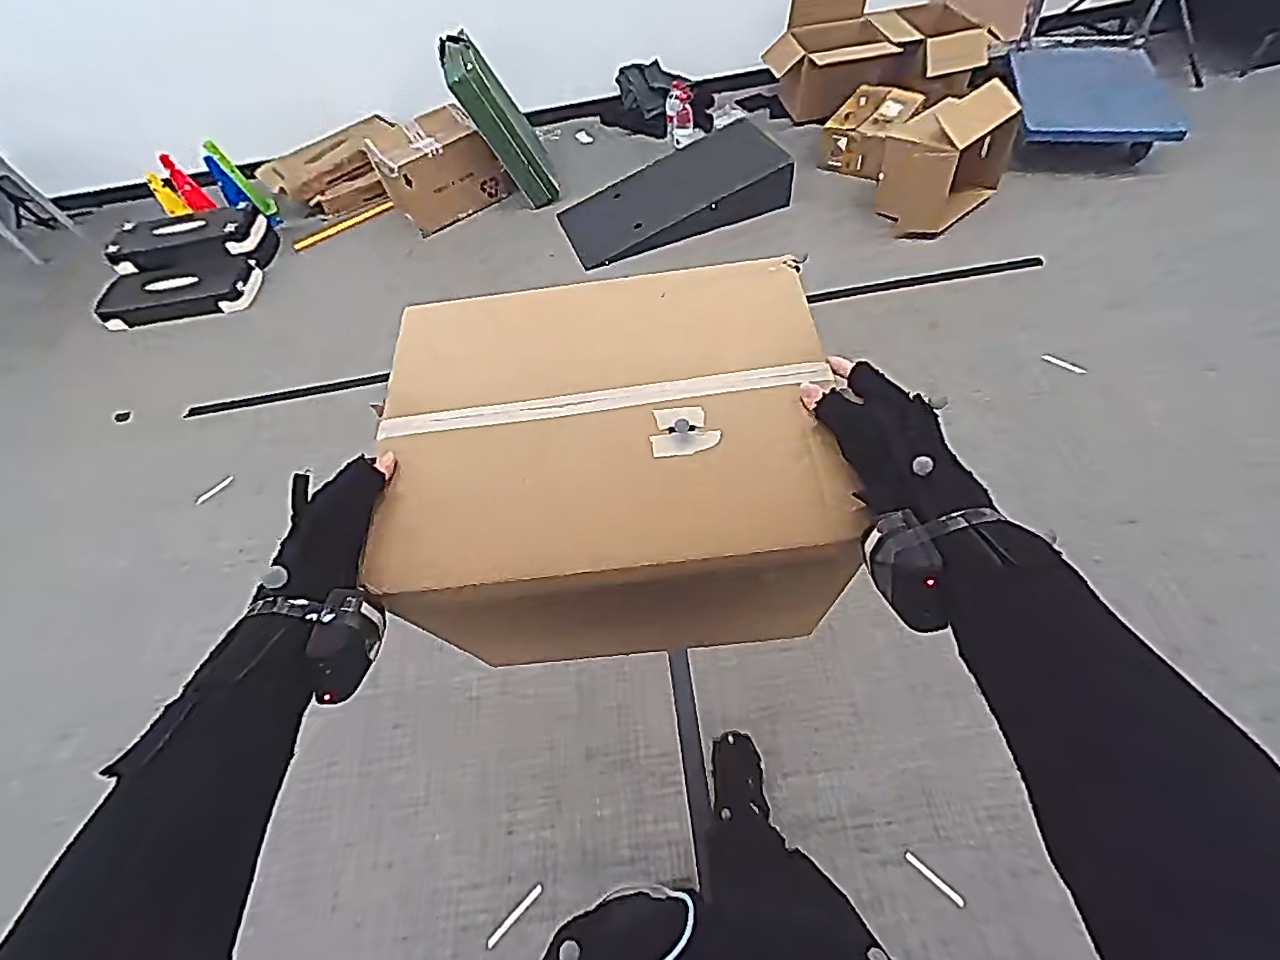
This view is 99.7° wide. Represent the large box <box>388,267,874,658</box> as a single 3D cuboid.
[{"bbox_3d":[-0.012,0.002,0.633,0.408,0.320,0.320,-7,61,2],"label":"large box"}]
